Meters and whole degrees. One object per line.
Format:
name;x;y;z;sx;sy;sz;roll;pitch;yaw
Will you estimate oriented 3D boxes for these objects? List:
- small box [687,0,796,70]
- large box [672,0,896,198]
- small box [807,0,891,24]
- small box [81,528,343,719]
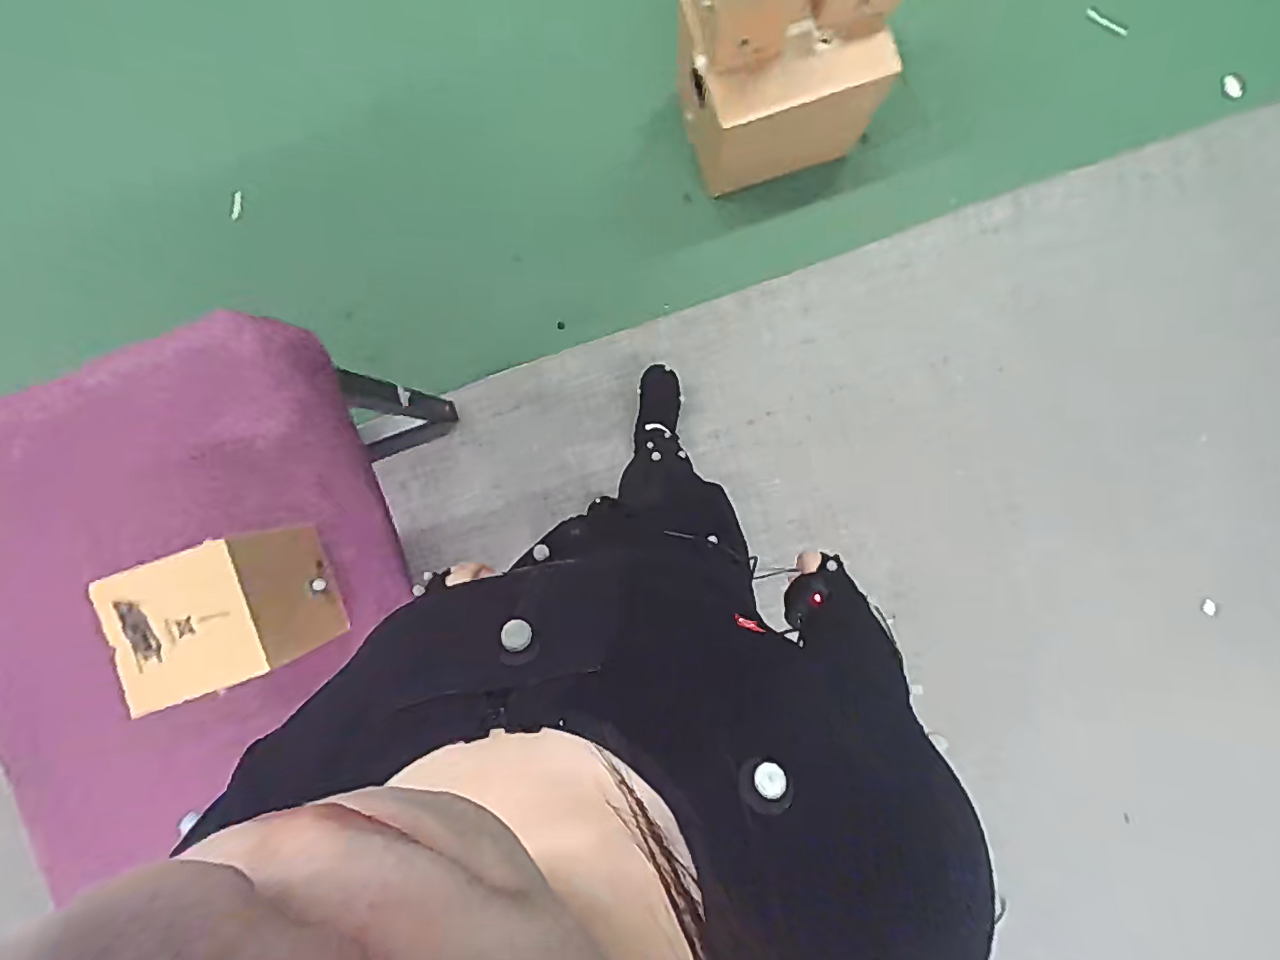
small box;0.195;-0.970;1.066;0.168;0.176;0.179;-17;91;1
large box;0.317;-0.959;1.306;0.408;0.320;0.320;-18;91;1
small box;0.430;-1.050;1.056;0.179;0.176;0.168;-13;90;2
small box;-0.528;0.170;0.692;0.179;0.176;0.168;-19;91;2
